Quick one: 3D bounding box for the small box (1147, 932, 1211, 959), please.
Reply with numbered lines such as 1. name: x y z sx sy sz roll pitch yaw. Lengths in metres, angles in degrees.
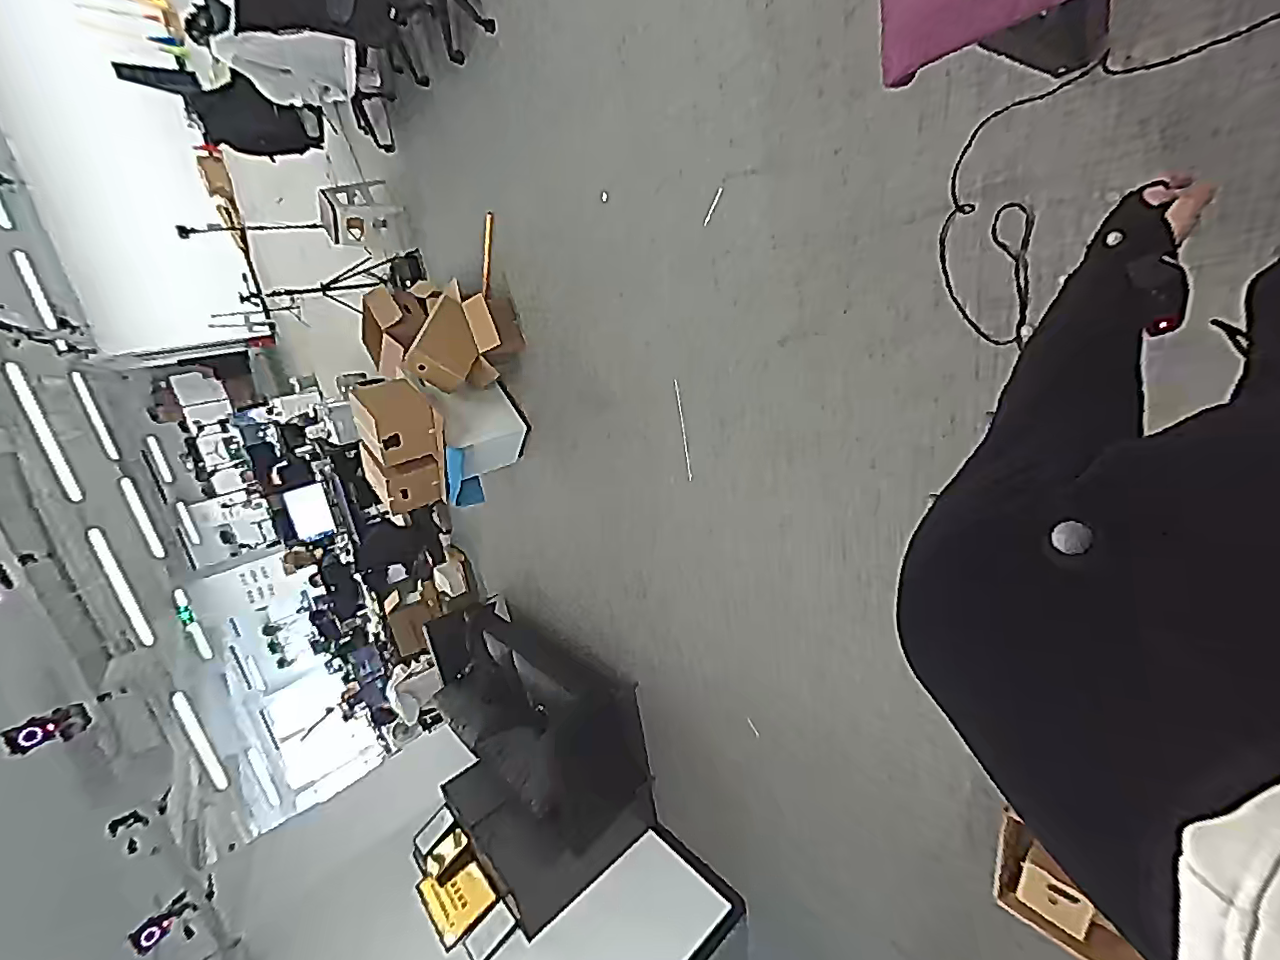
1. small box: 1.324 1.264 1.299 0.168 0.176 0.179 10 117 48
